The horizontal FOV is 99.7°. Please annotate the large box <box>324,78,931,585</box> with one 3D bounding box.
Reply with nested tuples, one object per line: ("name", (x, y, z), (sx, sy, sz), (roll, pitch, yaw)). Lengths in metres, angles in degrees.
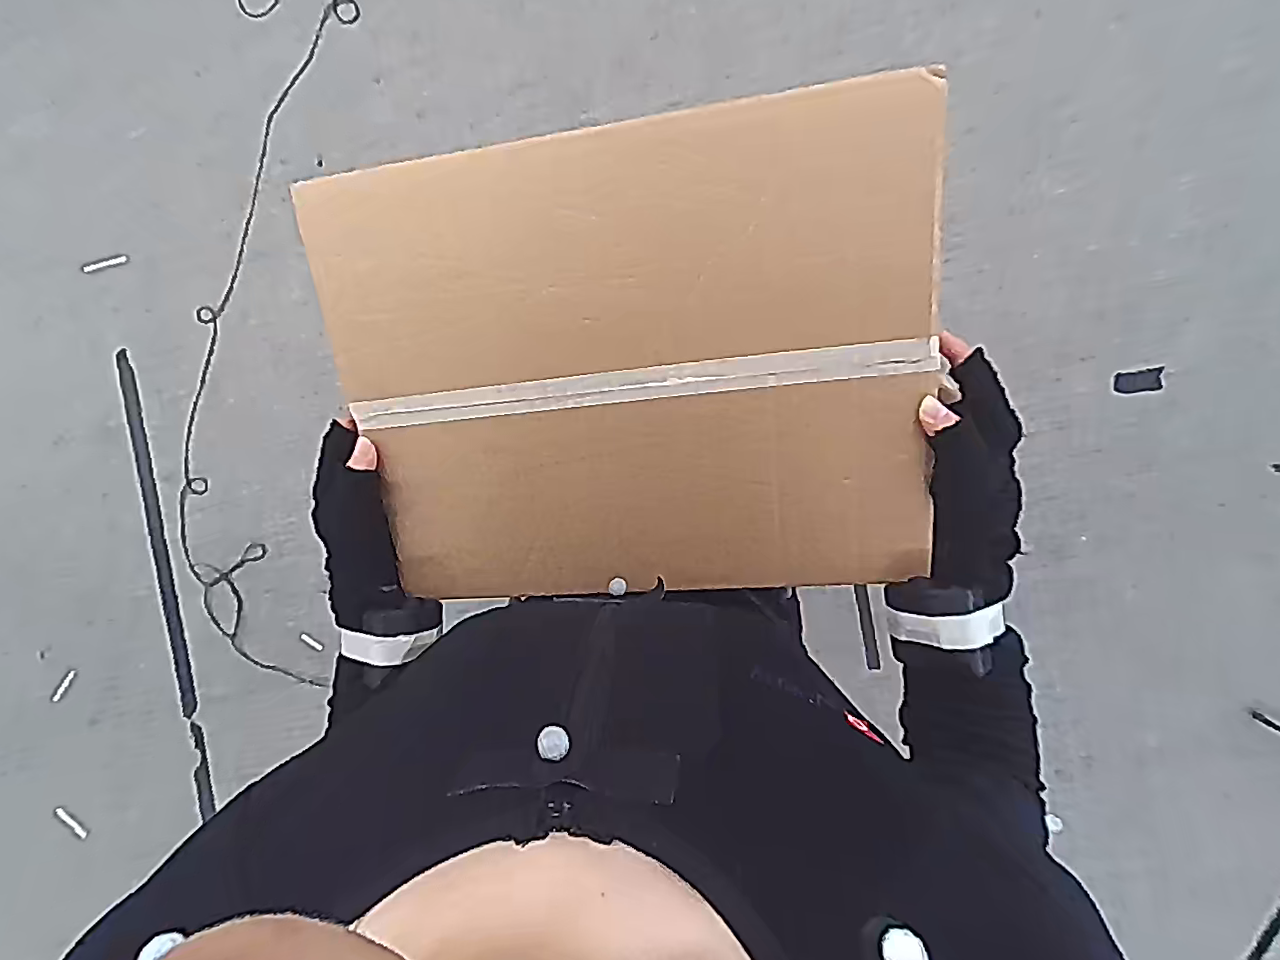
("large box", (0.009, -0.116, 0.525), (0.408, 0.320, 0.320), (-4, 109, 9))
